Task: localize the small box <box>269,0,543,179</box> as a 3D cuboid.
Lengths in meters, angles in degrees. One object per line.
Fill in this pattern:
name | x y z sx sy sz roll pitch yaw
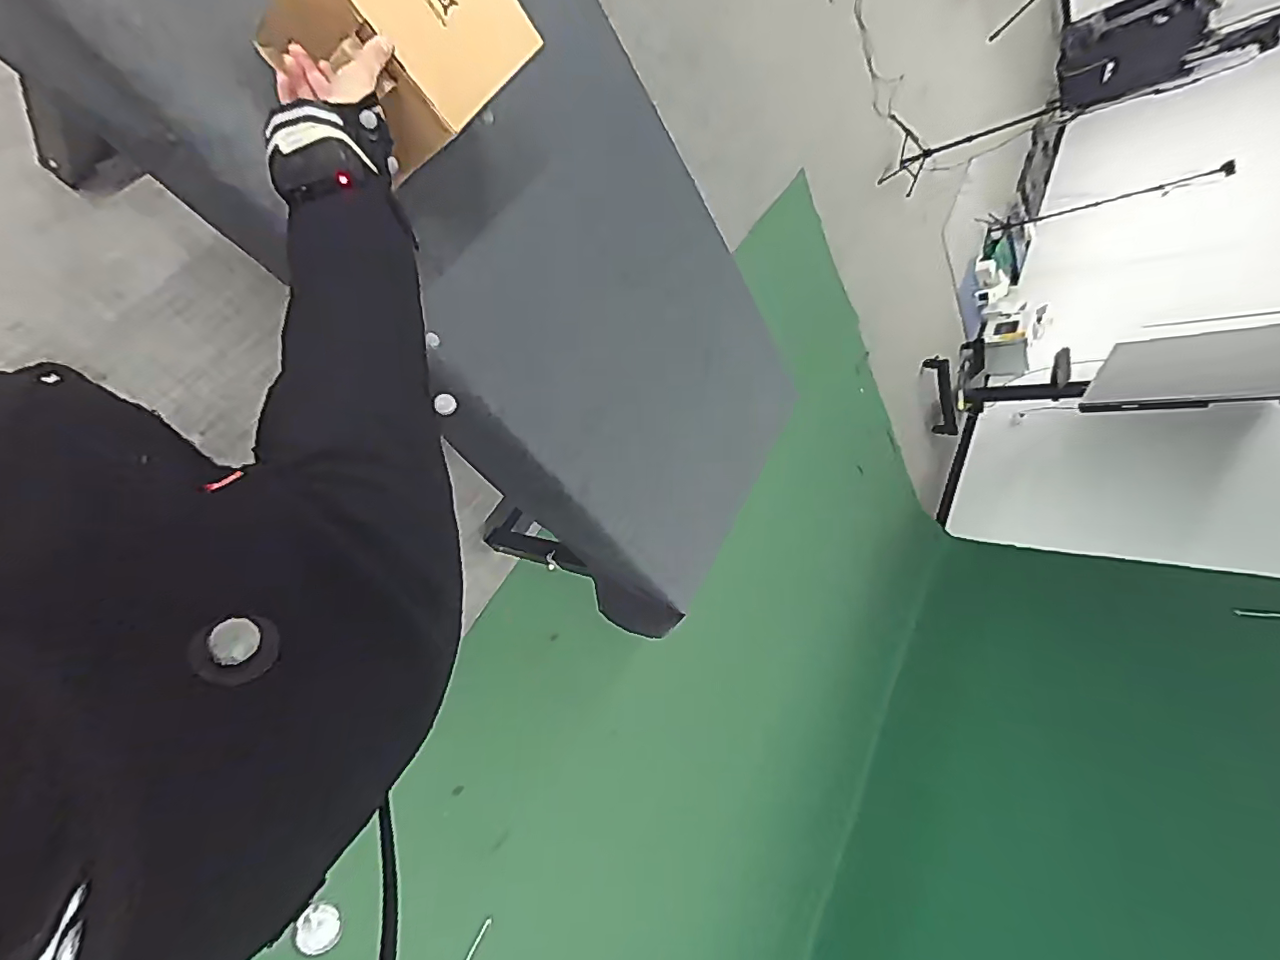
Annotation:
small box | -0.243 -0.458 0.563 0.168 0.176 0.179 46 62 -38
